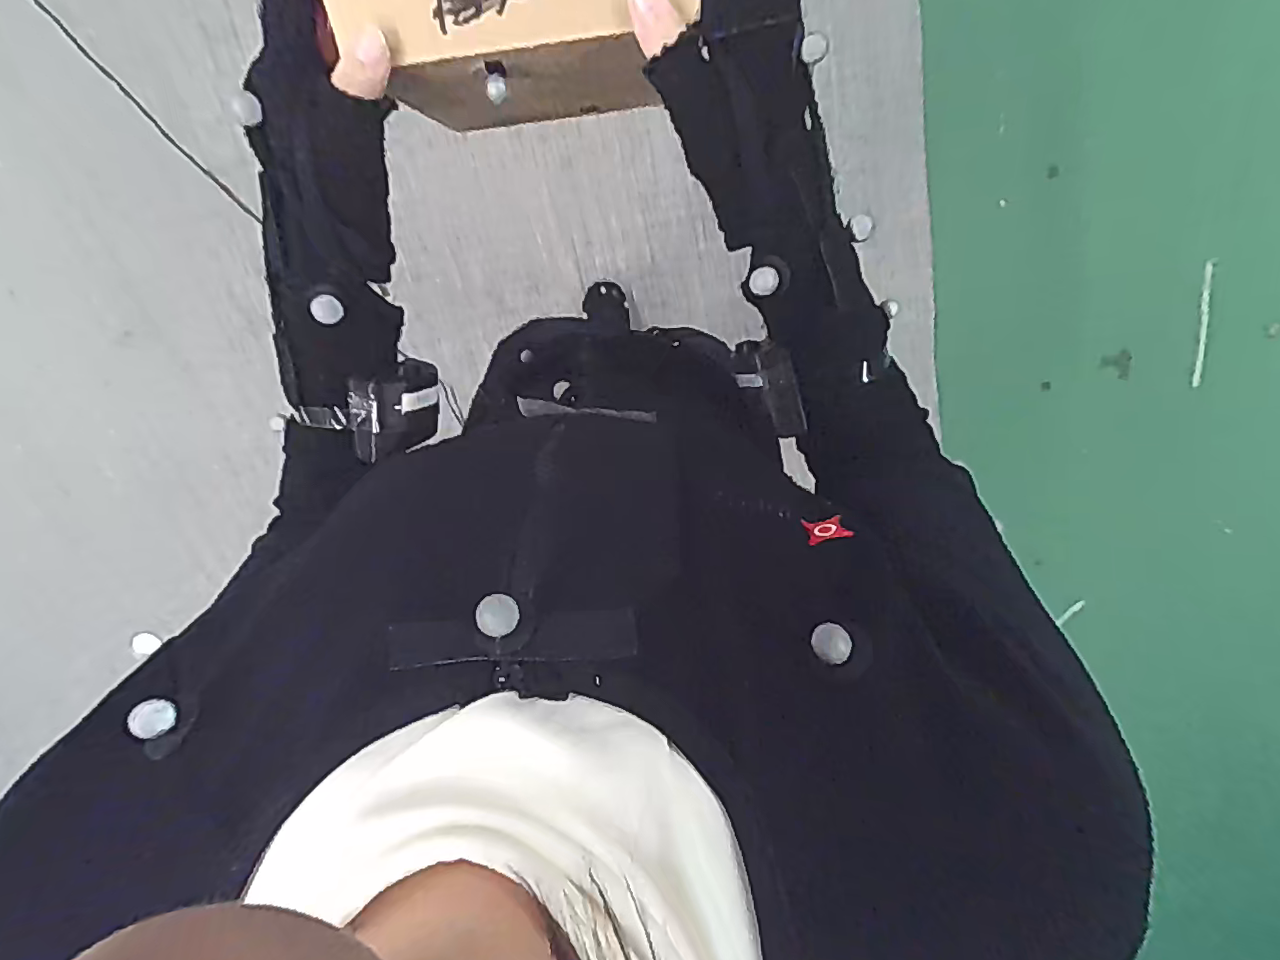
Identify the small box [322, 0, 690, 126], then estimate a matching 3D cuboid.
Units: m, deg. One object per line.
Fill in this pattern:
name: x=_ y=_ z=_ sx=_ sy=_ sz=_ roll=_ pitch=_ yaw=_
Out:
small box: x=-0.068 y=-0.314 z=0.284 sx=0.168 sy=0.176 sz=0.179 roll=-6 pitch=113 yaw=3
